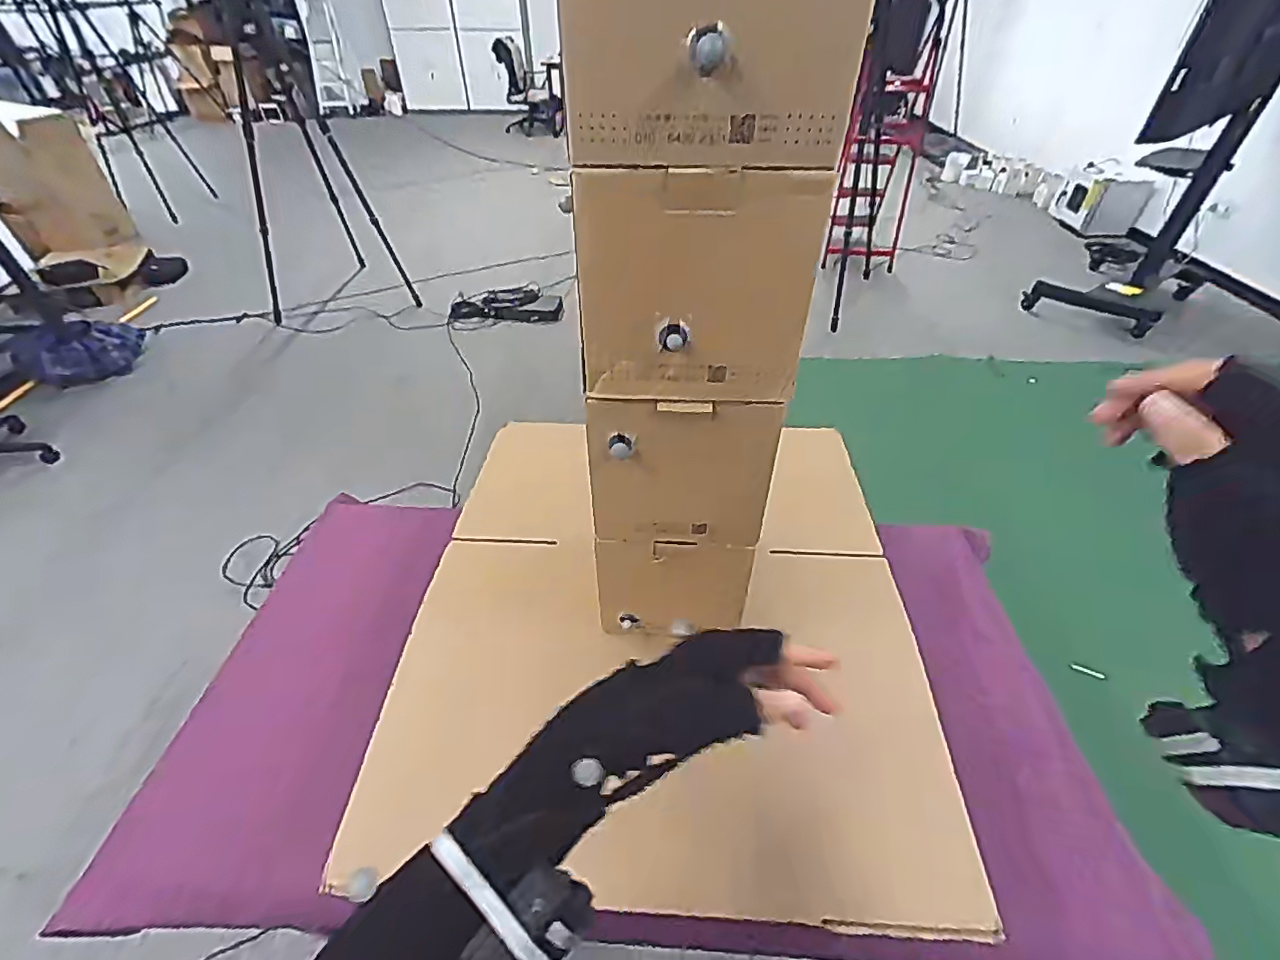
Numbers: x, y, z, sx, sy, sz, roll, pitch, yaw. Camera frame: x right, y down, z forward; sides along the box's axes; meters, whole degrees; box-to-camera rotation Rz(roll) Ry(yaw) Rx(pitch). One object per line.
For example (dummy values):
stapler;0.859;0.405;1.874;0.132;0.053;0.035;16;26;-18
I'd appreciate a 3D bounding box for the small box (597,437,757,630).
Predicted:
small box;0.041;0.066;0.656;0.168;0.176;0.179;0;43;1

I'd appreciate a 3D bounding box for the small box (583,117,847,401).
small box;0.046;-0.184;0.444;0.168;0.176;0.179;2;41;1
